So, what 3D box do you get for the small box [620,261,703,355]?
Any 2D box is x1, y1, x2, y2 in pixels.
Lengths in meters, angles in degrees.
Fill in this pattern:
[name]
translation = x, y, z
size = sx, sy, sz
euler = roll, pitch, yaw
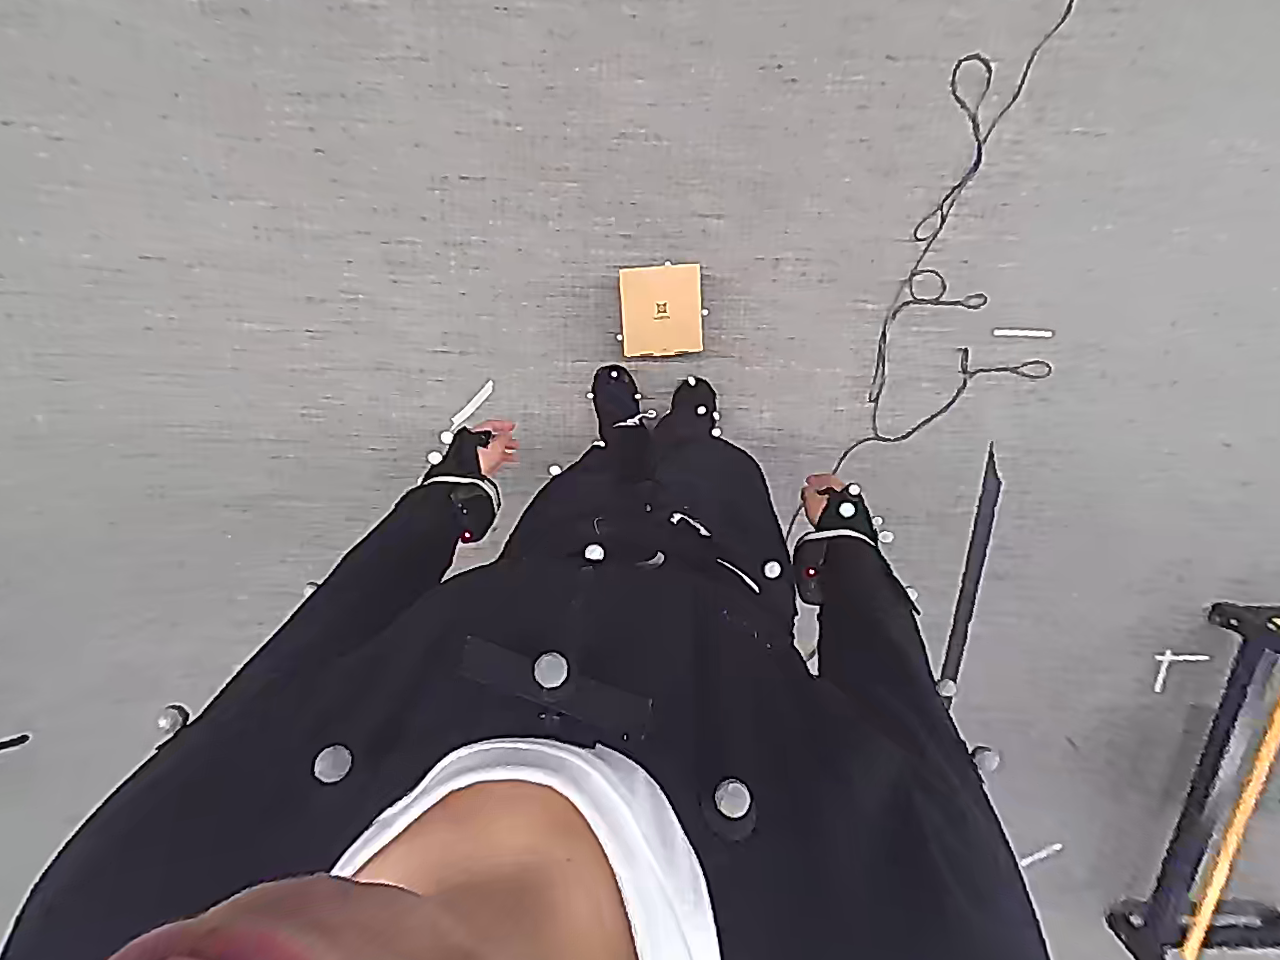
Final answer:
[small box]
translation = 0.043, -0.370, 1.179
size = 0.168, 0.176, 0.179
euler = -4, 106, 1
